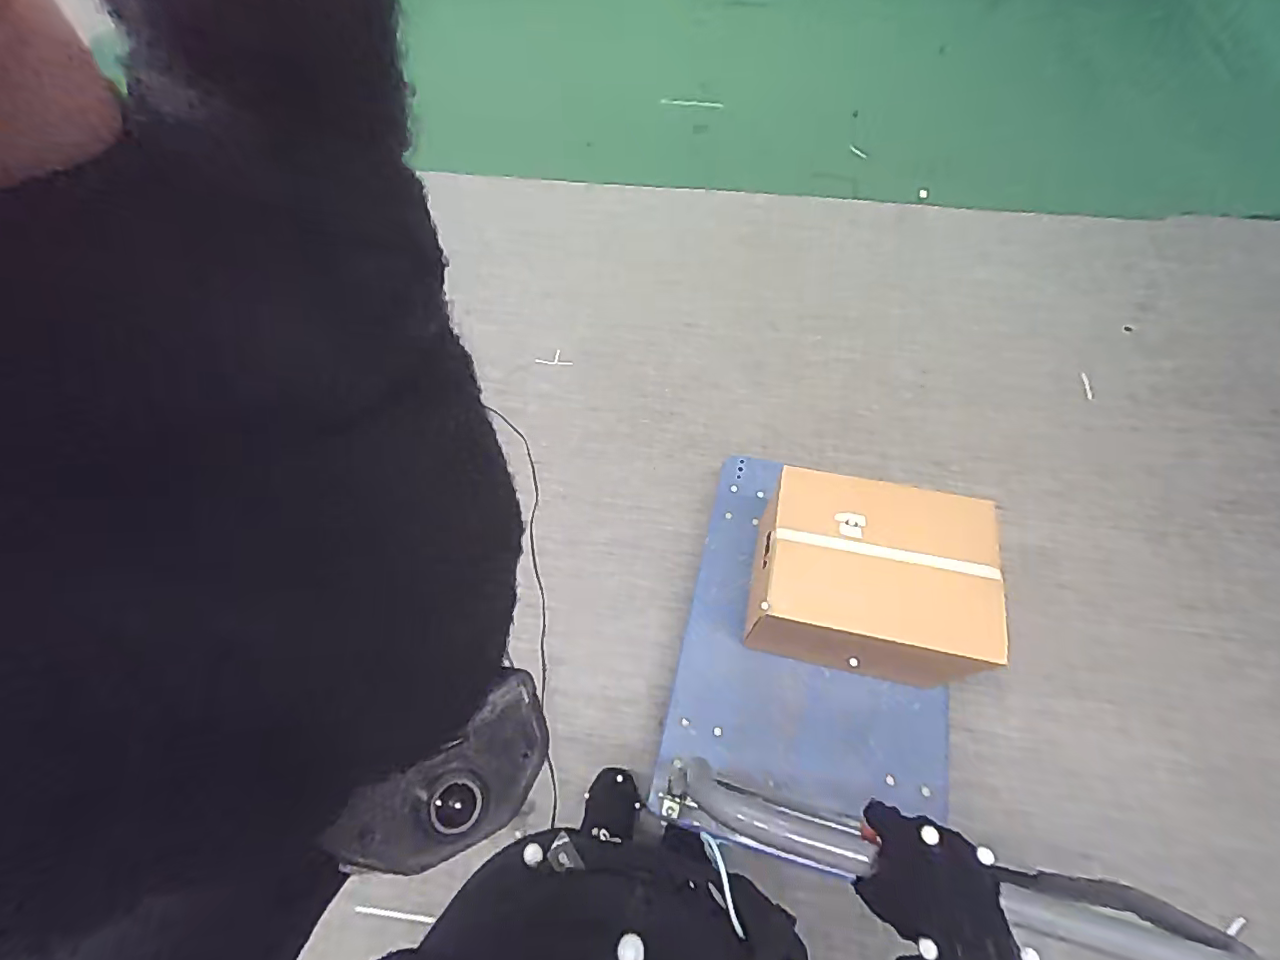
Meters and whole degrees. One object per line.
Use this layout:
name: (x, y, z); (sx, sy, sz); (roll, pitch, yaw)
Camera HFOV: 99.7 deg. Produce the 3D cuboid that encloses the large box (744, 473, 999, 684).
large box: (0.454, 0.218, 1.140); (0.408, 0.320, 0.320); (10, 62, 8)
